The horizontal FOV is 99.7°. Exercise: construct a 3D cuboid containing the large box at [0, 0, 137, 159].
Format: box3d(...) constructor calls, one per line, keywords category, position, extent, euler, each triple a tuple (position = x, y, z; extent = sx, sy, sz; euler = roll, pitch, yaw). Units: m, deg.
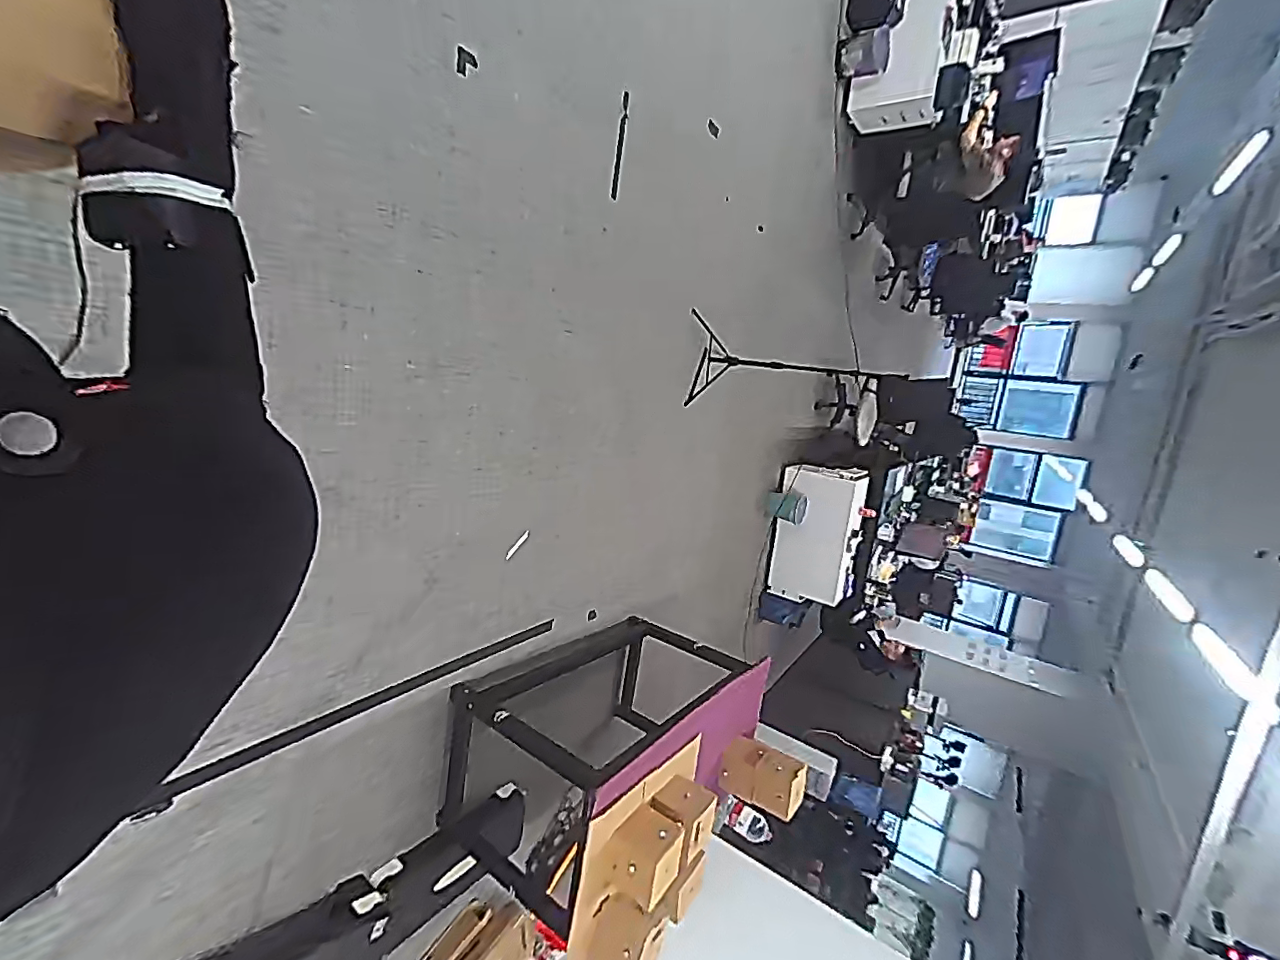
box3d(category="large box", position=(-0.573, -0.390, 0.257), extent=(0.408, 0.320, 0.320), euler=(-15, 119, -57))
